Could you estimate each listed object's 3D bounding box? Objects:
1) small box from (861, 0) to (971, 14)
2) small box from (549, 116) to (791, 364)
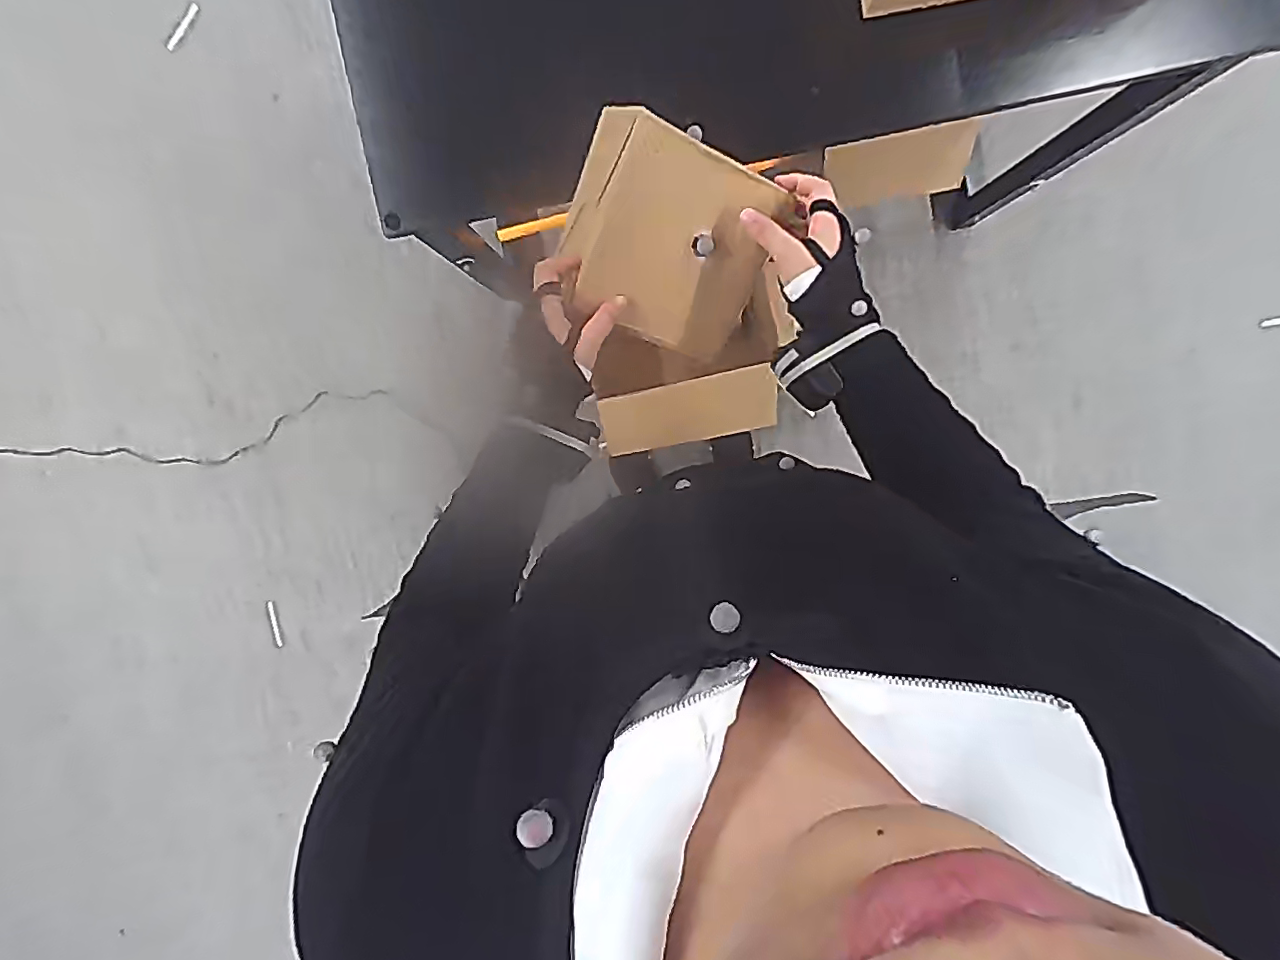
[{"bbox_3d":[0.349,-0.661,0.590,0.179,0.176,0.168,-8,96,2],"label":"small box"},{"bbox_3d":[0.016,-0.249,0.563,0.176,0.168,0.179,14,117,-23],"label":"small box"}]
